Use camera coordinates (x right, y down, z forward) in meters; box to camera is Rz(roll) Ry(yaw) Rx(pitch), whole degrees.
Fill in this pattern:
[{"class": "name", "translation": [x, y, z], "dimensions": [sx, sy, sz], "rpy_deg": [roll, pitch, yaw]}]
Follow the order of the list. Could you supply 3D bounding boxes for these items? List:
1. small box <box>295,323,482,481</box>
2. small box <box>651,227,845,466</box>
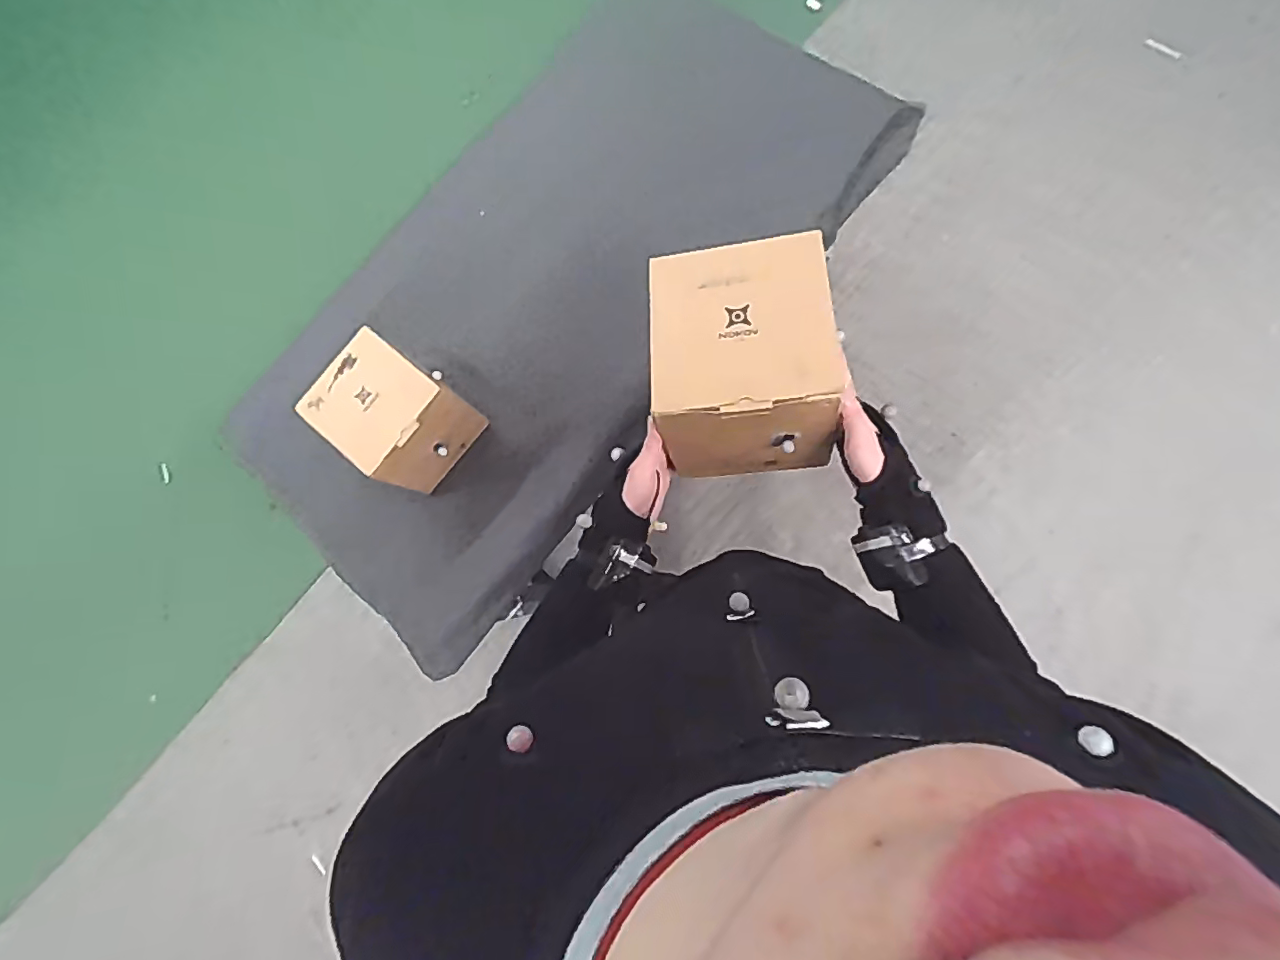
[{"class": "small box", "translation": [-0.390, -0.112, 0.870], "dimensions": [0.179, 0.176, 0.168], "rpy_deg": [38, 87, 11]}, {"class": "small box", "translation": [0.108, -0.121, 0.561], "dimensions": [0.168, 0.176, 0.179], "rpy_deg": [-5, 69, 11]}]
